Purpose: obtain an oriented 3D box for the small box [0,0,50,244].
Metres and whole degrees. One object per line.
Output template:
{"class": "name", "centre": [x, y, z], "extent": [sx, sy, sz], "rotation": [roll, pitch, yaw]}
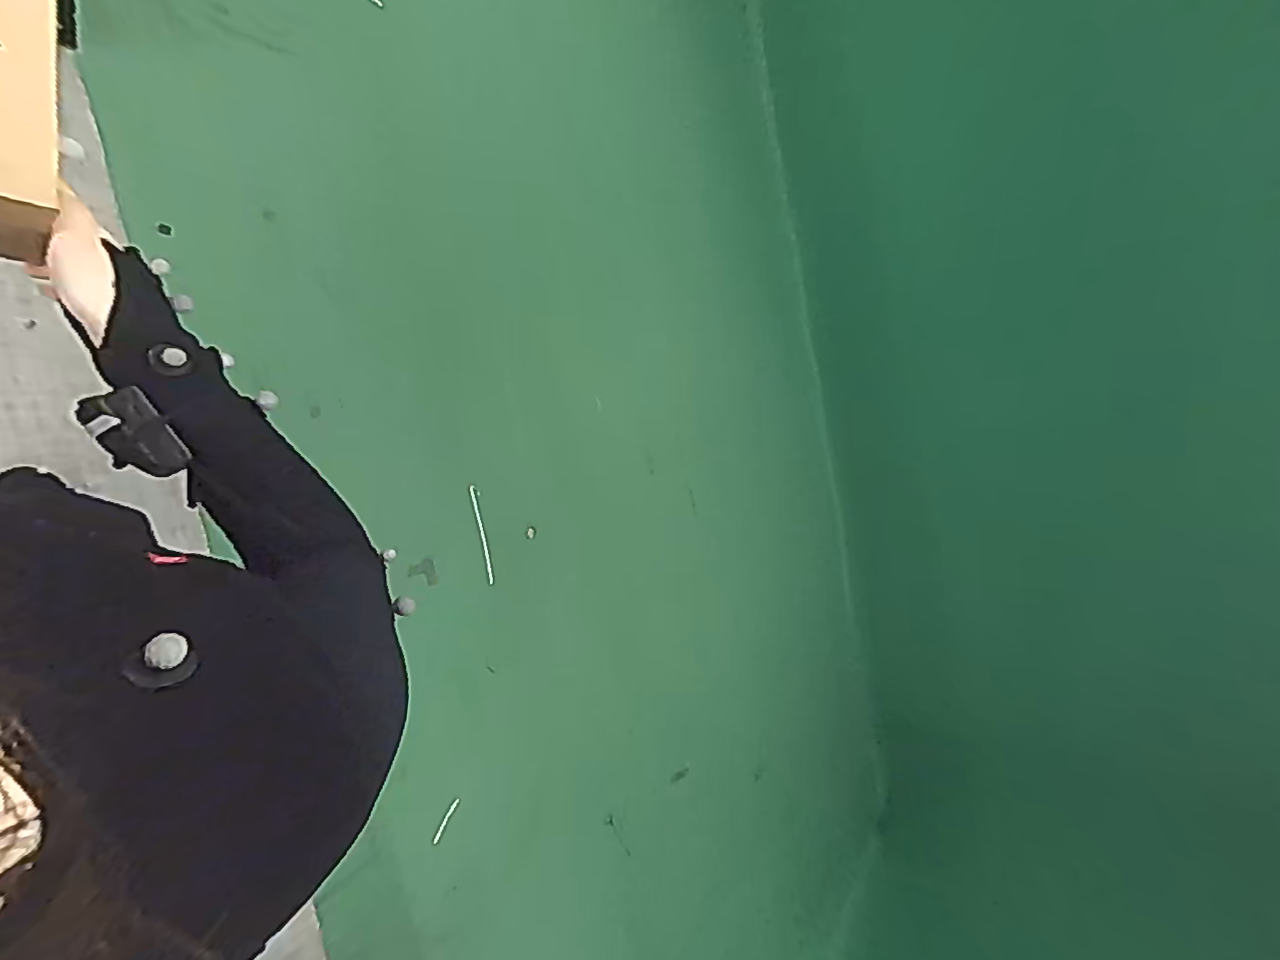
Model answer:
{"class": "small box", "centre": [-0.446, -0.245, 0.287], "extent": [0.179, 0.176, 0.168], "rotation": [-1, 95, -50]}
